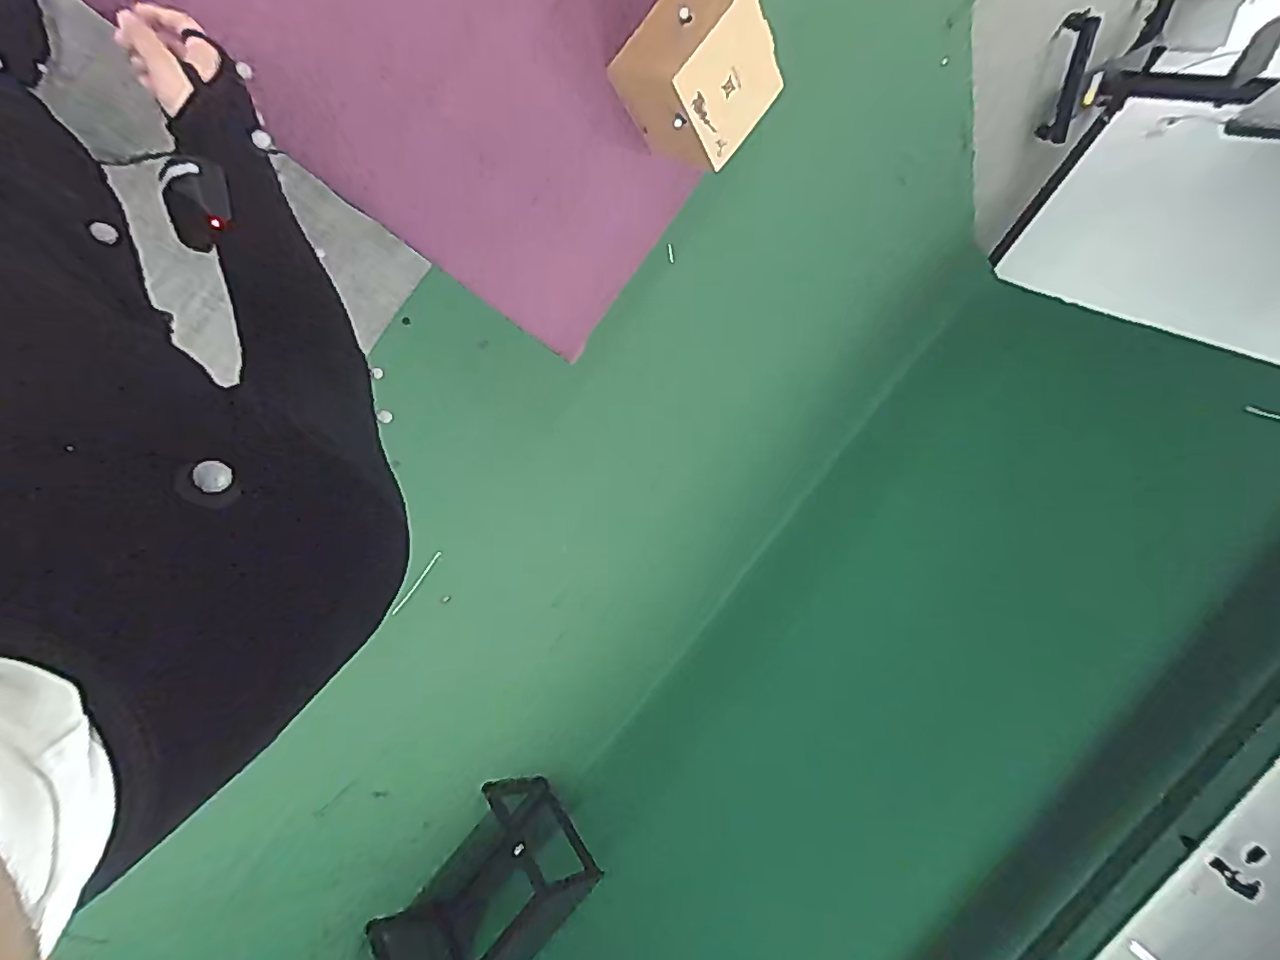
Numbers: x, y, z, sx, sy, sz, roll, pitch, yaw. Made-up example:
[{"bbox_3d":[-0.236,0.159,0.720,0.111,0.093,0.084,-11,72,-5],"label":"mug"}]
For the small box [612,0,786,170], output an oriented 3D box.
[{"bbox_3d":[0.090,-0.629,0.842,0.179,0.176,0.168,-52,142,3],"label":"small box"}]
